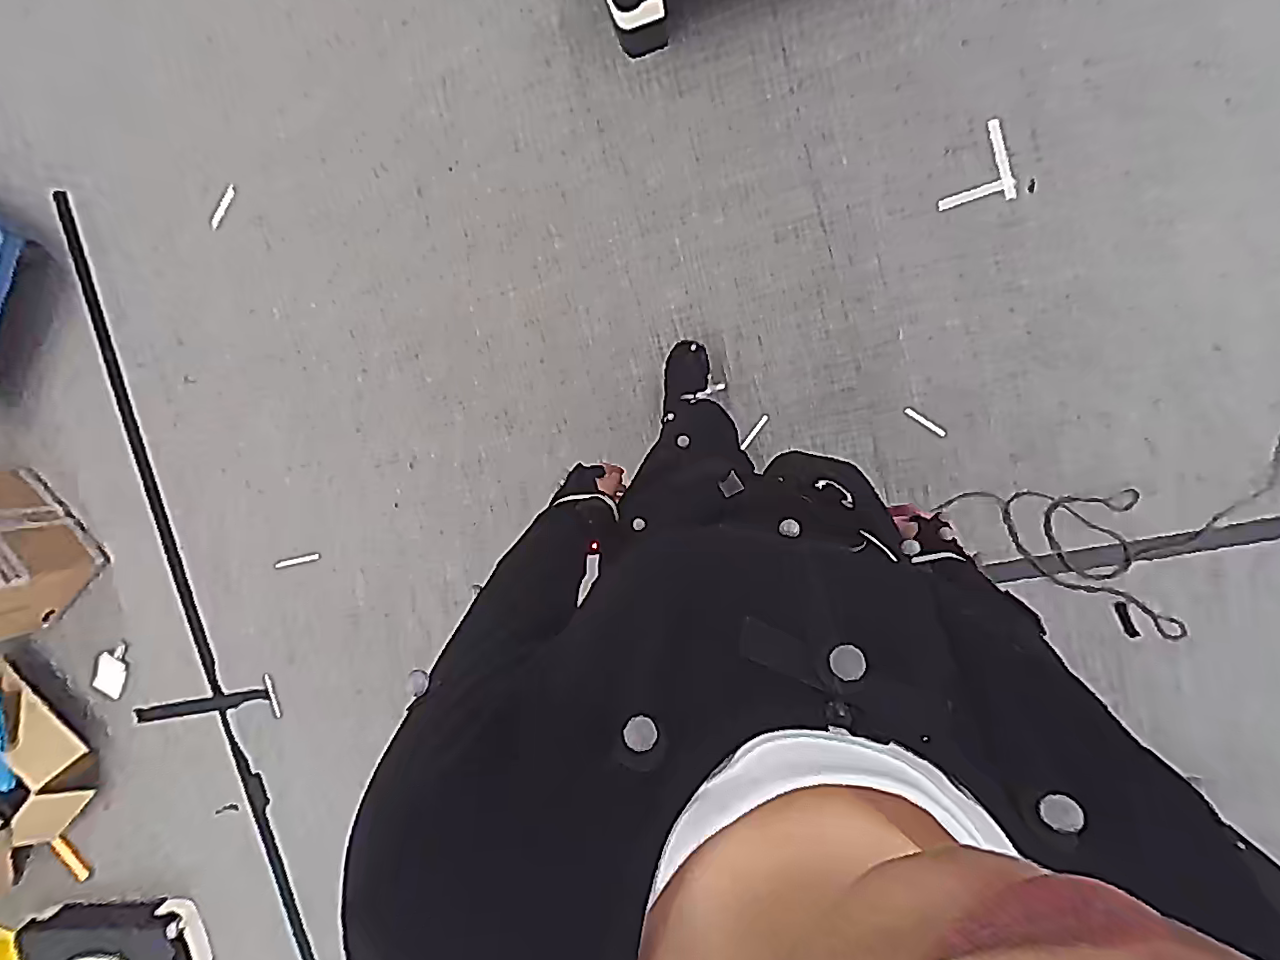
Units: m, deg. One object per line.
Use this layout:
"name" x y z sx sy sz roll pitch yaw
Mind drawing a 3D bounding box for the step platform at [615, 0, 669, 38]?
"step platform" 0.241 -1.224 1.110 0.684 0.204 0.286 -14 94 12
